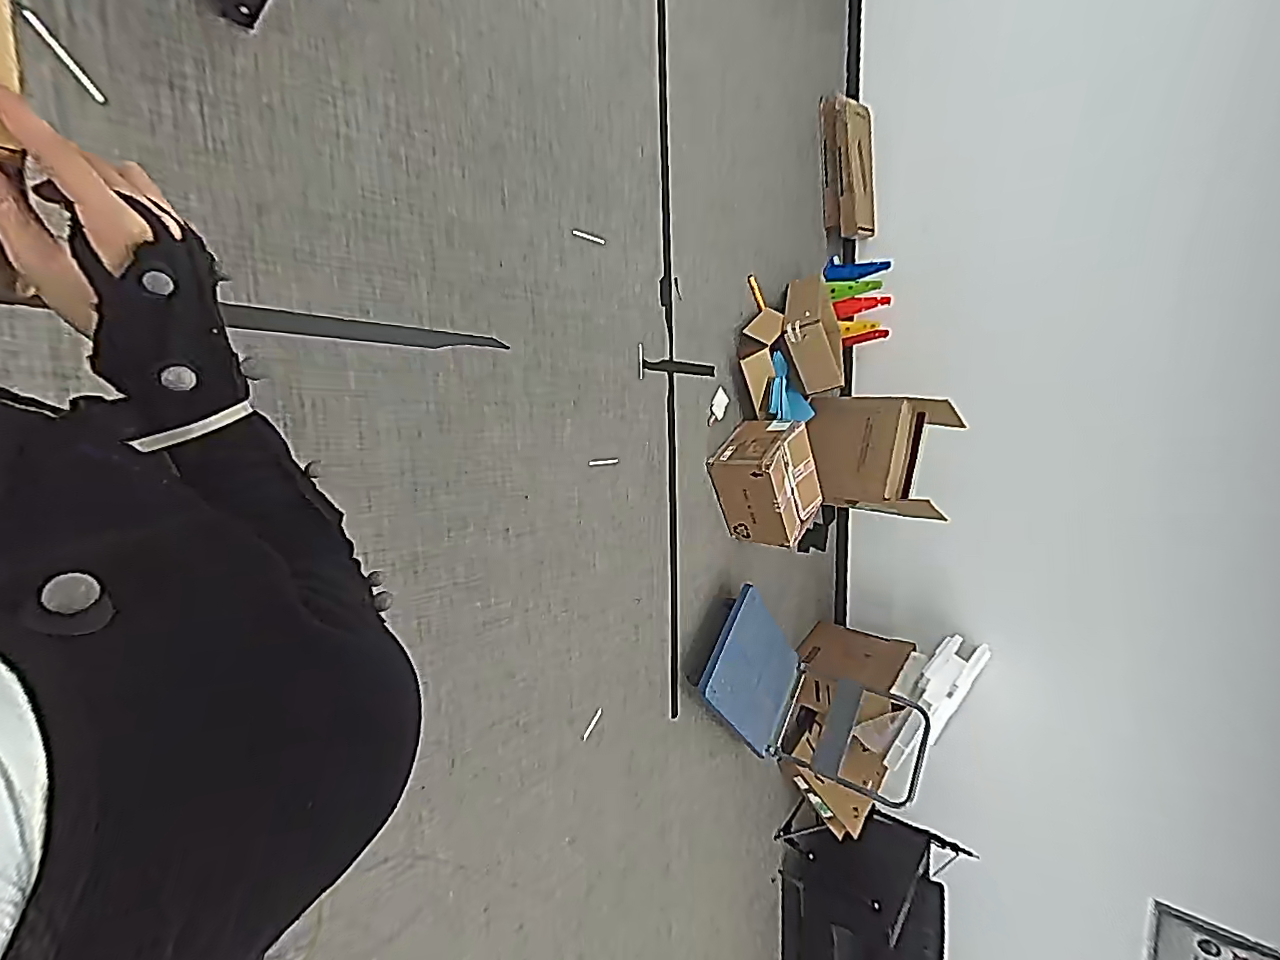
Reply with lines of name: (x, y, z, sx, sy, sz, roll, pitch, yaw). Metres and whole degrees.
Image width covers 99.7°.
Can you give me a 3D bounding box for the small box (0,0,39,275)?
small box: (-0.432, -0.217, 0.264, 0.179, 0.176, 0.168, -7, 83, -48)
